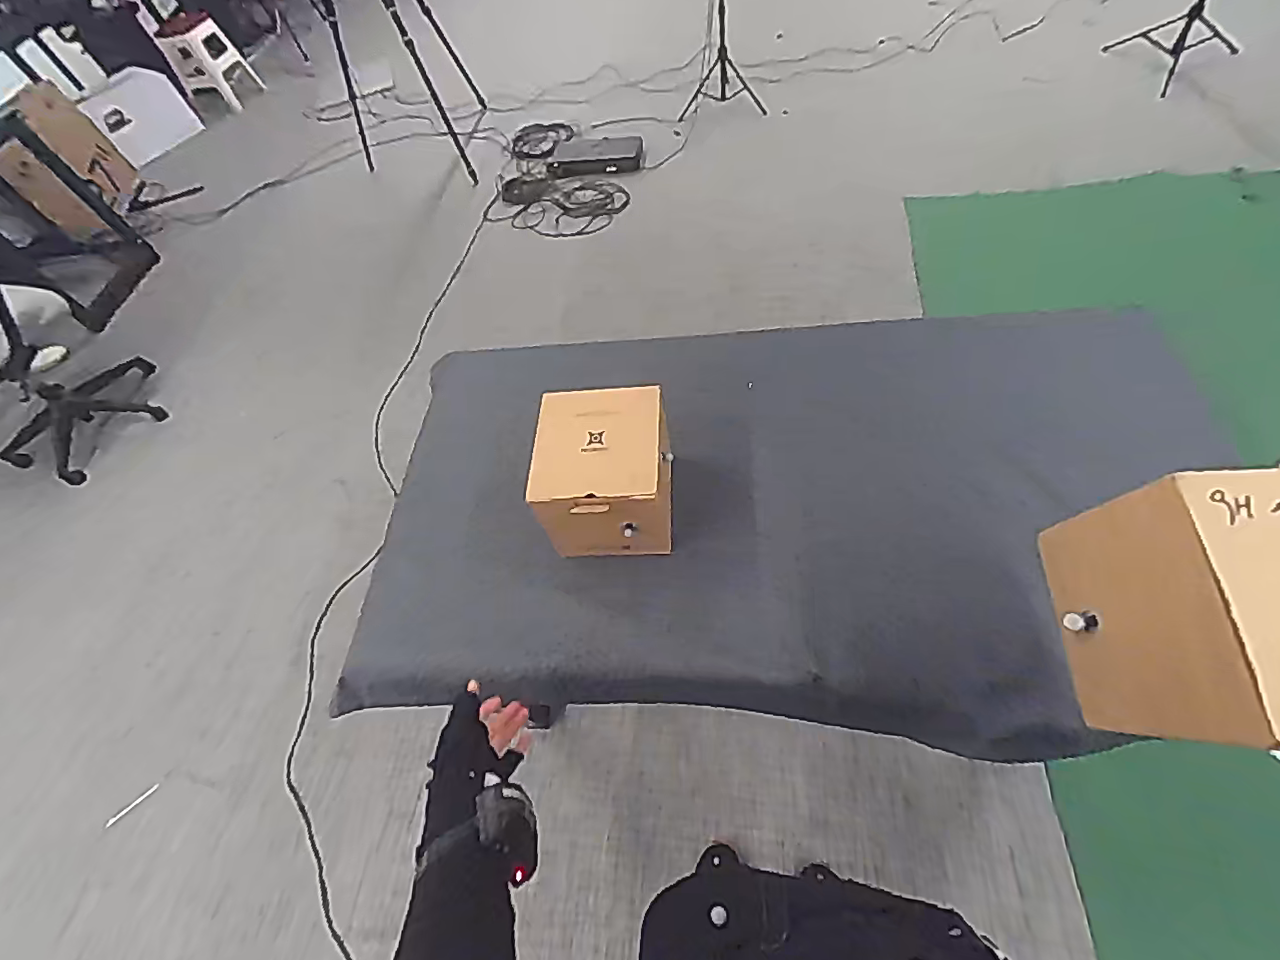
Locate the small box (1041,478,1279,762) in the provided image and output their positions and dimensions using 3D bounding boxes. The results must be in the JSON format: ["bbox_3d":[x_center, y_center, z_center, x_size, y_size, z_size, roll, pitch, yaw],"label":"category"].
[{"bbox_3d":[0.456,0.107,0.412,0.168,0.176,0.179,-2,70,4],"label":"small box"}]

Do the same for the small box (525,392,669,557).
[{"bbox_3d":[-0.048,0.000,0.760,0.168,0.176,0.179,-3,56,7],"label":"small box"}]
